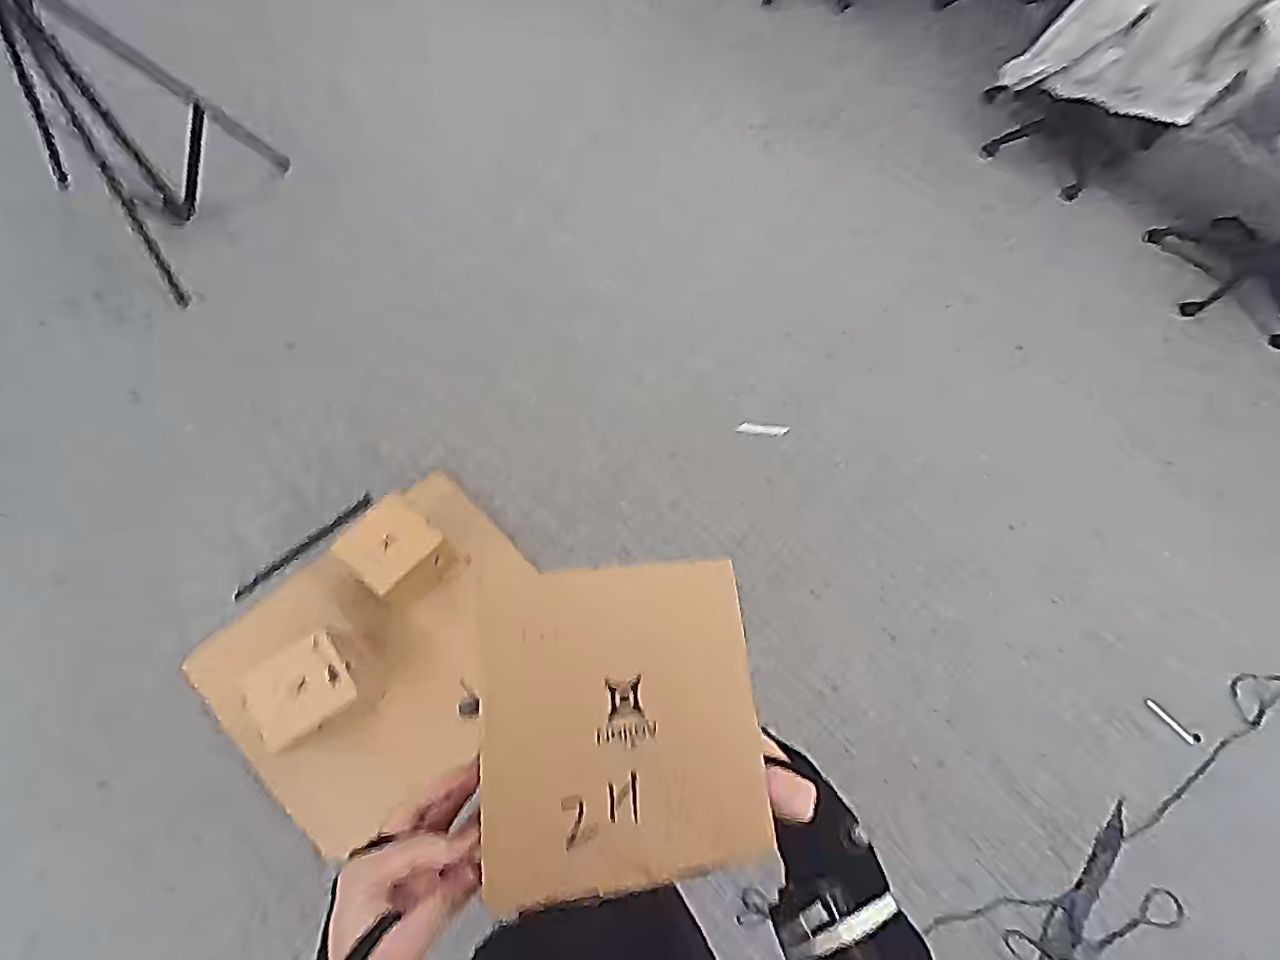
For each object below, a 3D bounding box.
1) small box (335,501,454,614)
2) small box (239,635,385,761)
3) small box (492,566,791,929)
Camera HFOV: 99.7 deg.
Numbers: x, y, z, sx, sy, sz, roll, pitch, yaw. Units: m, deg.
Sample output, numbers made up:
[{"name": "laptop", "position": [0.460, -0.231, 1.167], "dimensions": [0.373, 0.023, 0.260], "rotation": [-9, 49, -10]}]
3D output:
[{"name": "small box", "position": [-0.554, 0.184, 1.253], "dimensions": [0.168, 0.176, 0.179], "rotation": [39, 68, 10]}, {"name": "small box", "position": [-0.669, 0.448, 1.124], "dimensions": [0.179, 0.176, 0.168], "rotation": [-34, 76, -18]}, {"name": "small box", "position": [-0.017, 0.167, 0.388], "dimensions": [0.168, 0.176, 0.179], "rotation": [-3, 73, -12]}]
